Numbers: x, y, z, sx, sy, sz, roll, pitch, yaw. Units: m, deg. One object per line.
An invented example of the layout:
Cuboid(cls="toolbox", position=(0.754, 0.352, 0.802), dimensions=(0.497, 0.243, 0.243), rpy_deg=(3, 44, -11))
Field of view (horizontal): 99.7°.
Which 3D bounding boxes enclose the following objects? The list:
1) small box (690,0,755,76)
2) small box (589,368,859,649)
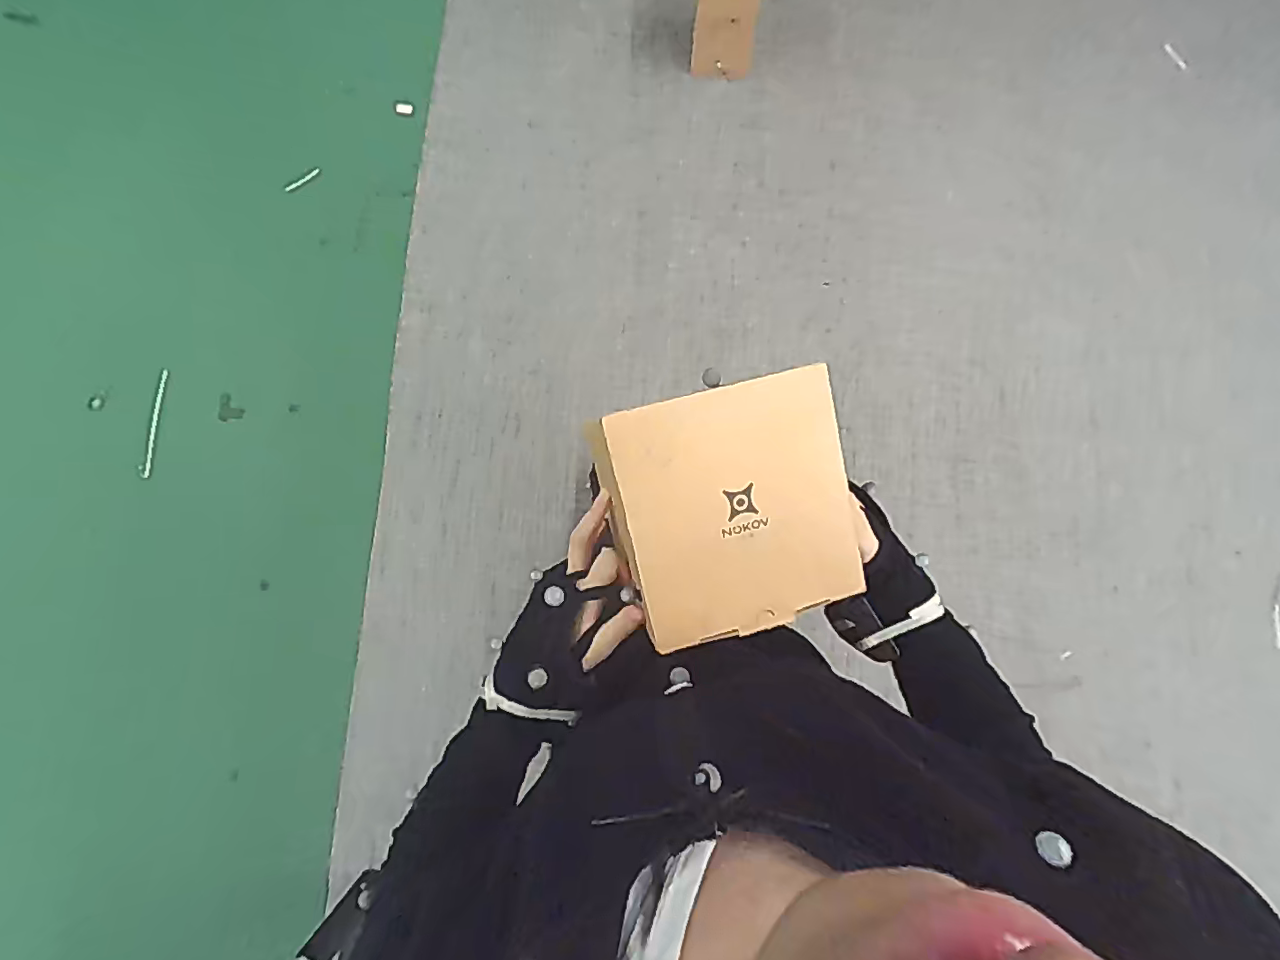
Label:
Cuboid(cls="small box", position=(0.239, -1.334, 1.577), dimensions=(0.168, 0.176, 0.179), rpy_deg=(5, 85, 1))
Cuboid(cls="small box", position=(0.057, 0.012, 0.467), dimensions=(0.168, 0.176, 0.179), rpy_deg=(-14, 100, -8))
